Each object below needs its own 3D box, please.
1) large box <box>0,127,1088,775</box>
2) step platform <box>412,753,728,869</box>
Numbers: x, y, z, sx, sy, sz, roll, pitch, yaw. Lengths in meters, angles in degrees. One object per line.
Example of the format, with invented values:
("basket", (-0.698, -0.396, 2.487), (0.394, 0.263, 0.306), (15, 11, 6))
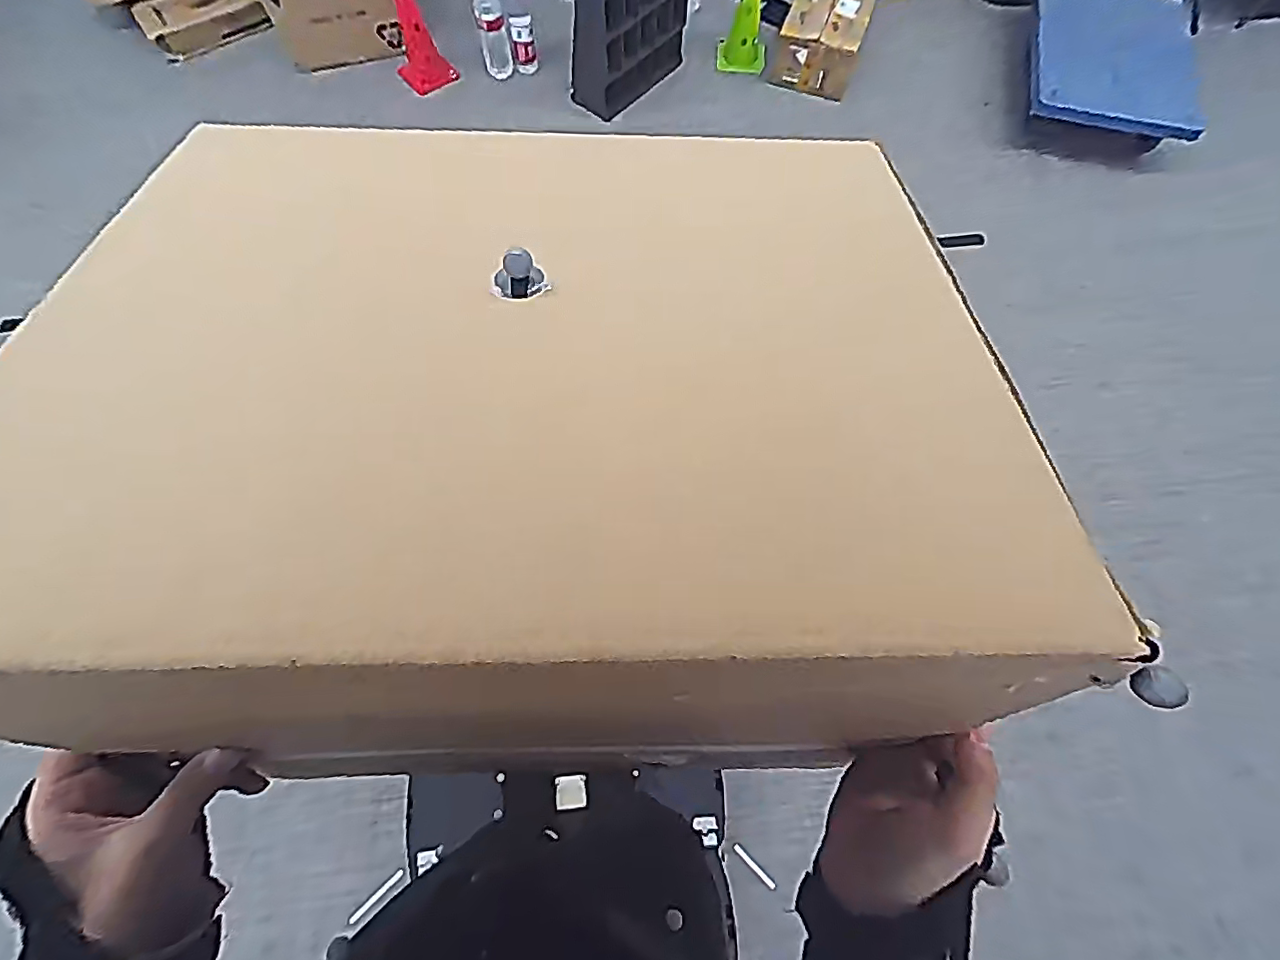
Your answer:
("large box", (-0.070, 0.002, 0.362), (0.408, 0.320, 0.320), (-2, 58, -2))
("step platform", (-0.147, 0.684, 1.220), (0.684, 0.204, 0.286), (0, 69, -2))
